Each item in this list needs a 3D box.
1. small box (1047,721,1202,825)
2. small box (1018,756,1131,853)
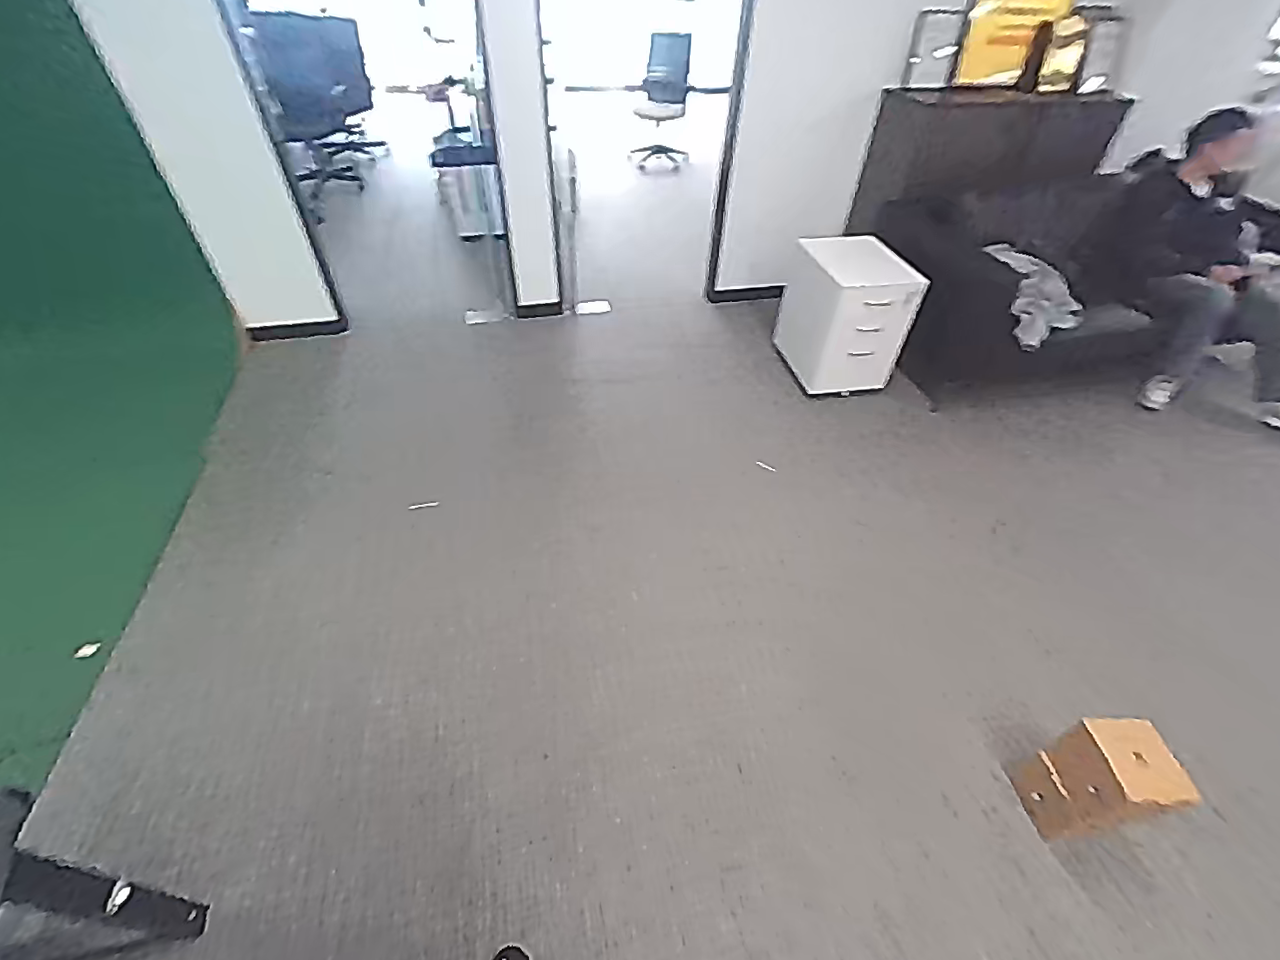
[{"bbox_3d":[1.110,0.684,1.257,0.168,0.176,0.179,2,43,-3],"label":"small box"},{"bbox_3d":[1.110,0.794,1.368,0.168,0.176,0.179,-24,48,-27],"label":"small box"}]
